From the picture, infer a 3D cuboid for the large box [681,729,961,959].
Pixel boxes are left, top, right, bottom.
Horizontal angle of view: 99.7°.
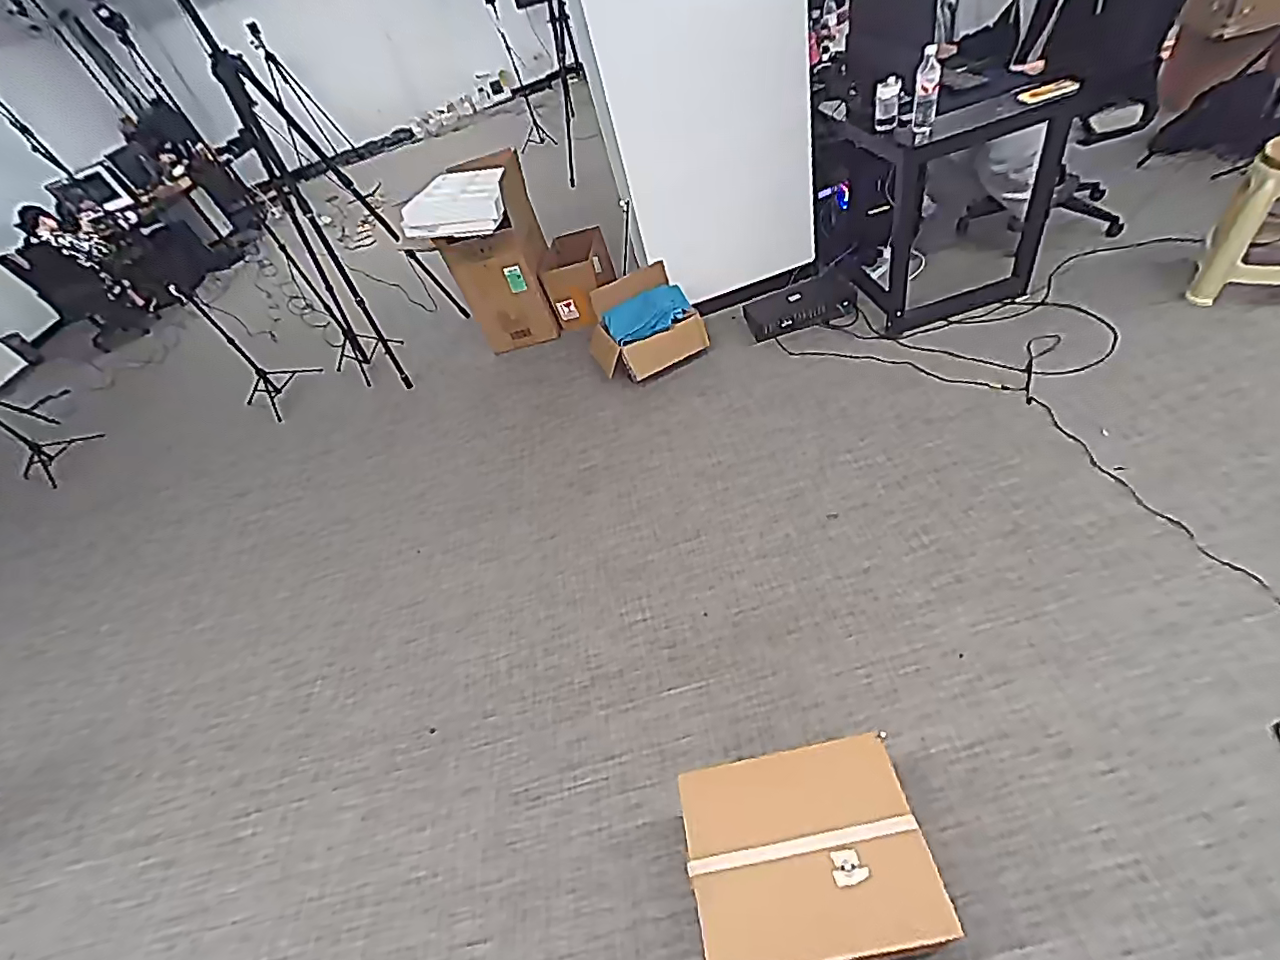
[{"bbox_3d":[0.327,0.745,1.063,0.408,0.320,0.320,-15,45,5],"label":"large box"}]
